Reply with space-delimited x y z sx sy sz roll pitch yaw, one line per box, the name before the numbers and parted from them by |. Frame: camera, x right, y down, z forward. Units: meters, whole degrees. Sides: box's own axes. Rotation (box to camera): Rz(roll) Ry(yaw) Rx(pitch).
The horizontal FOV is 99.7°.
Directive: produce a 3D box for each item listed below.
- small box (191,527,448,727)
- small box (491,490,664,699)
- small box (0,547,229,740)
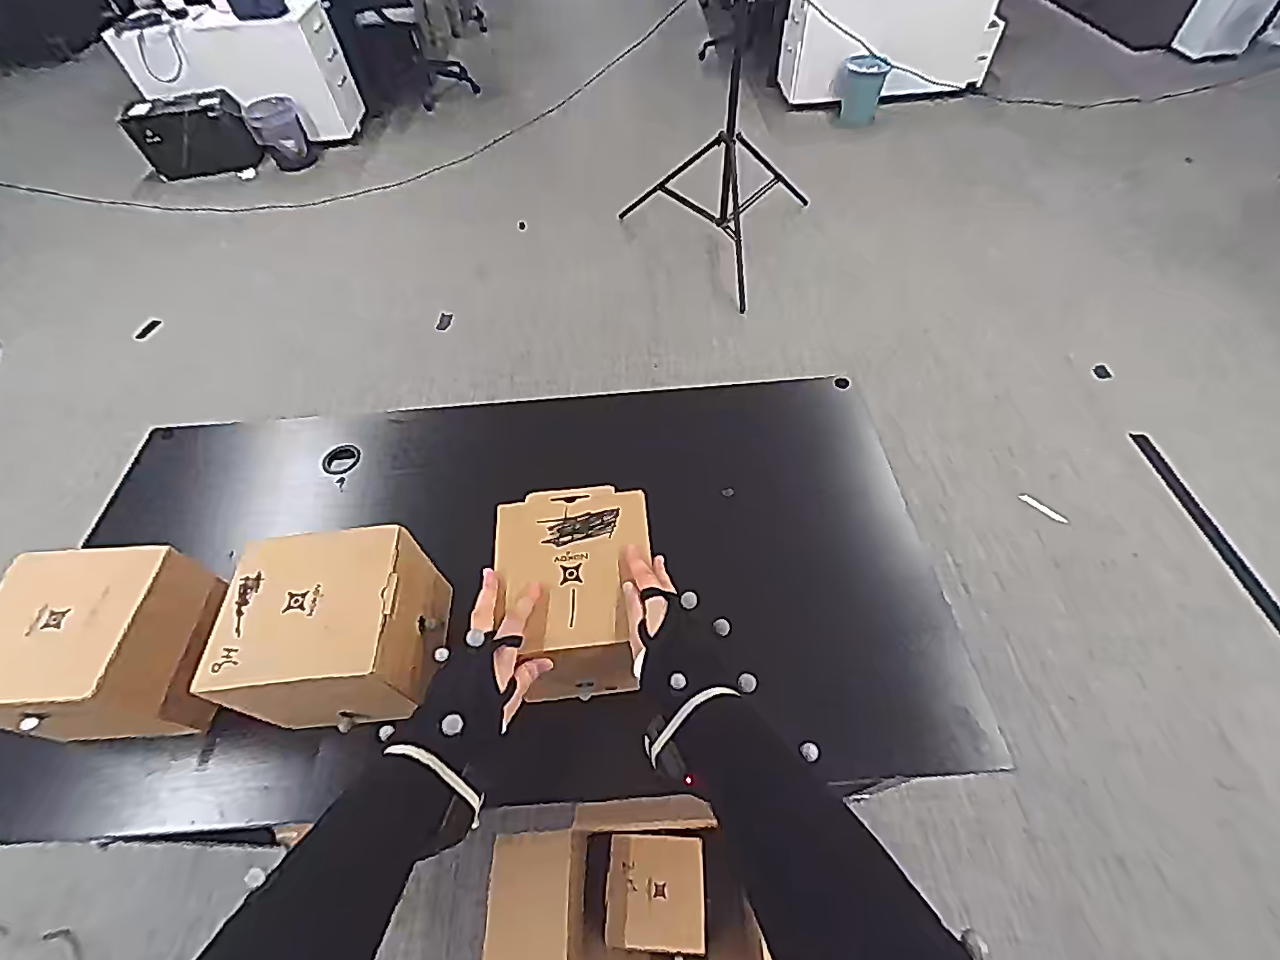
small box | -0.334 0.170 0.611 0.179 0.176 0.168 -5 54 -1
small box | -0.063 0.134 0.621 0.168 0.176 0.179 -6 55 -1
small box | -0.596 0.190 0.612 0.179 0.176 0.168 -3 55 0
